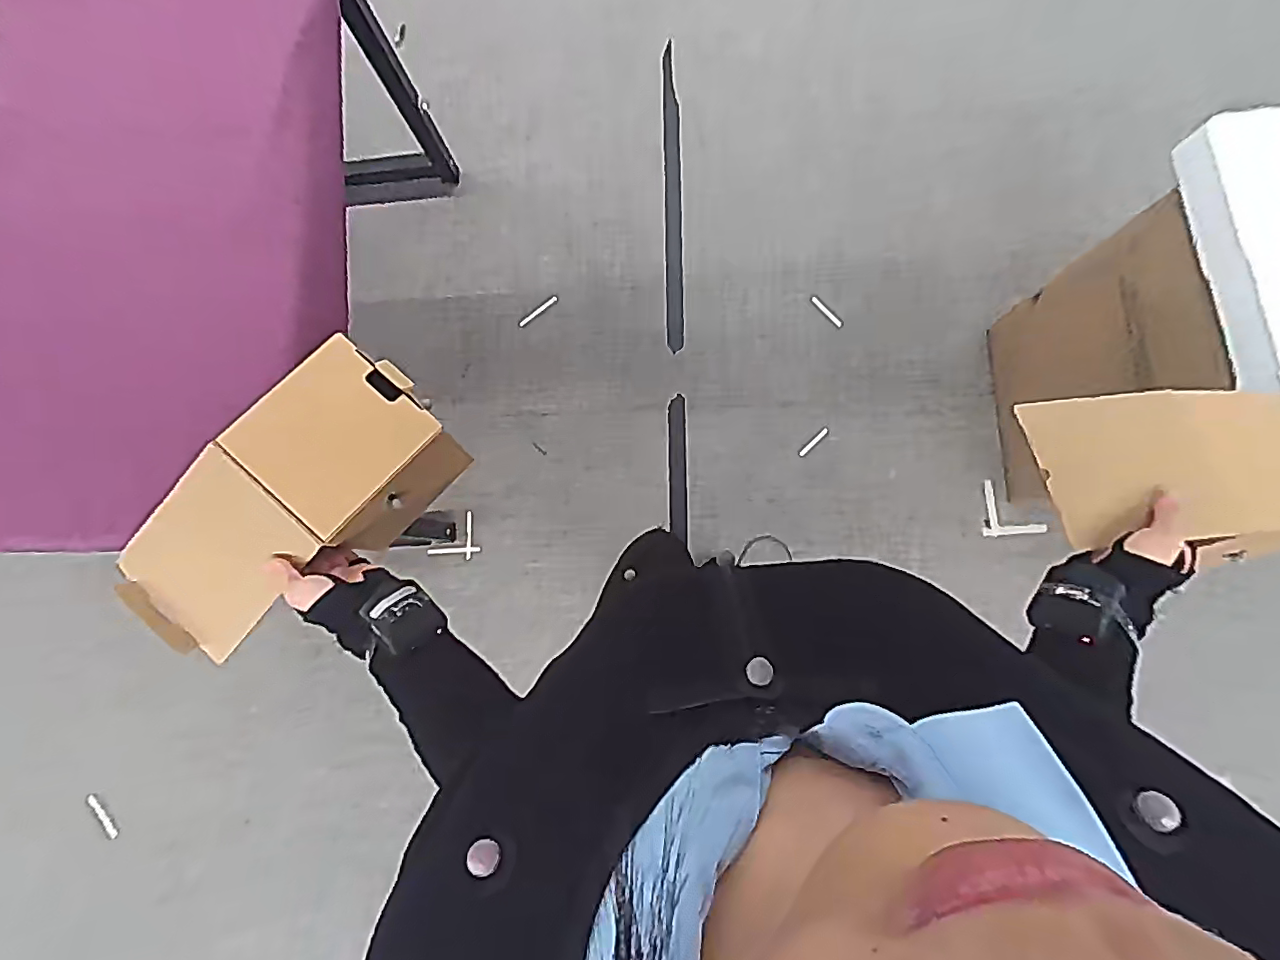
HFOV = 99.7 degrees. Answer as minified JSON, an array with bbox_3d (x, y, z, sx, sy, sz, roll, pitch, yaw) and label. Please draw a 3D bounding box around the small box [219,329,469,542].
[{"bbox_3d":[-0.339,-0.040,0.663,0.168,0.176,0.179,41,78,4],"label":"small box"}]
